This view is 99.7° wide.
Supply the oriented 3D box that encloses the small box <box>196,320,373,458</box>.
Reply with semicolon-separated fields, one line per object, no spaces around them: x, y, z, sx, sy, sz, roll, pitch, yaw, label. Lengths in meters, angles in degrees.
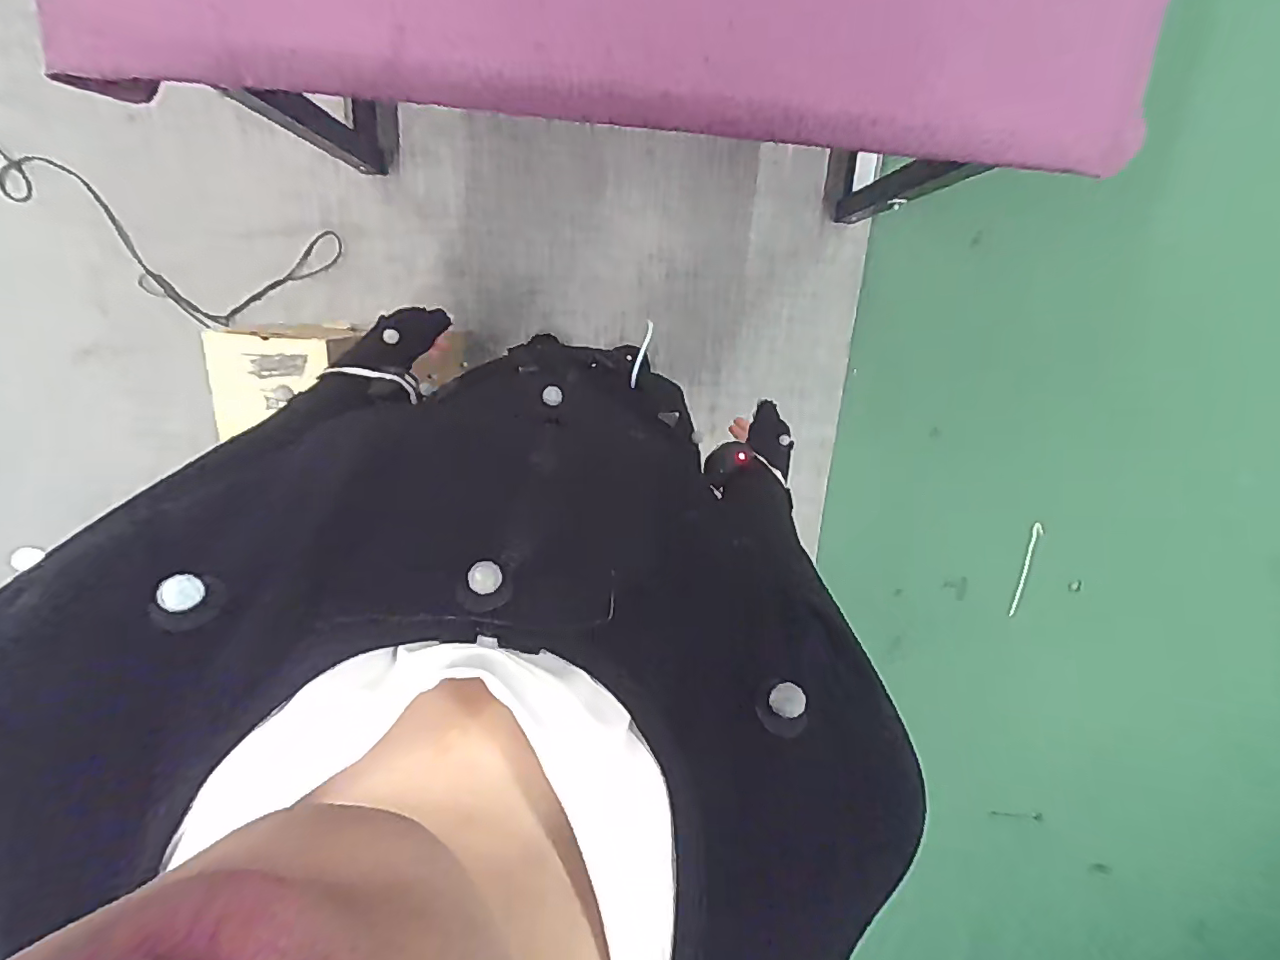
-0.531;-0.147;0.835;0.168;0.176;0.179;5;109;-5;small box
